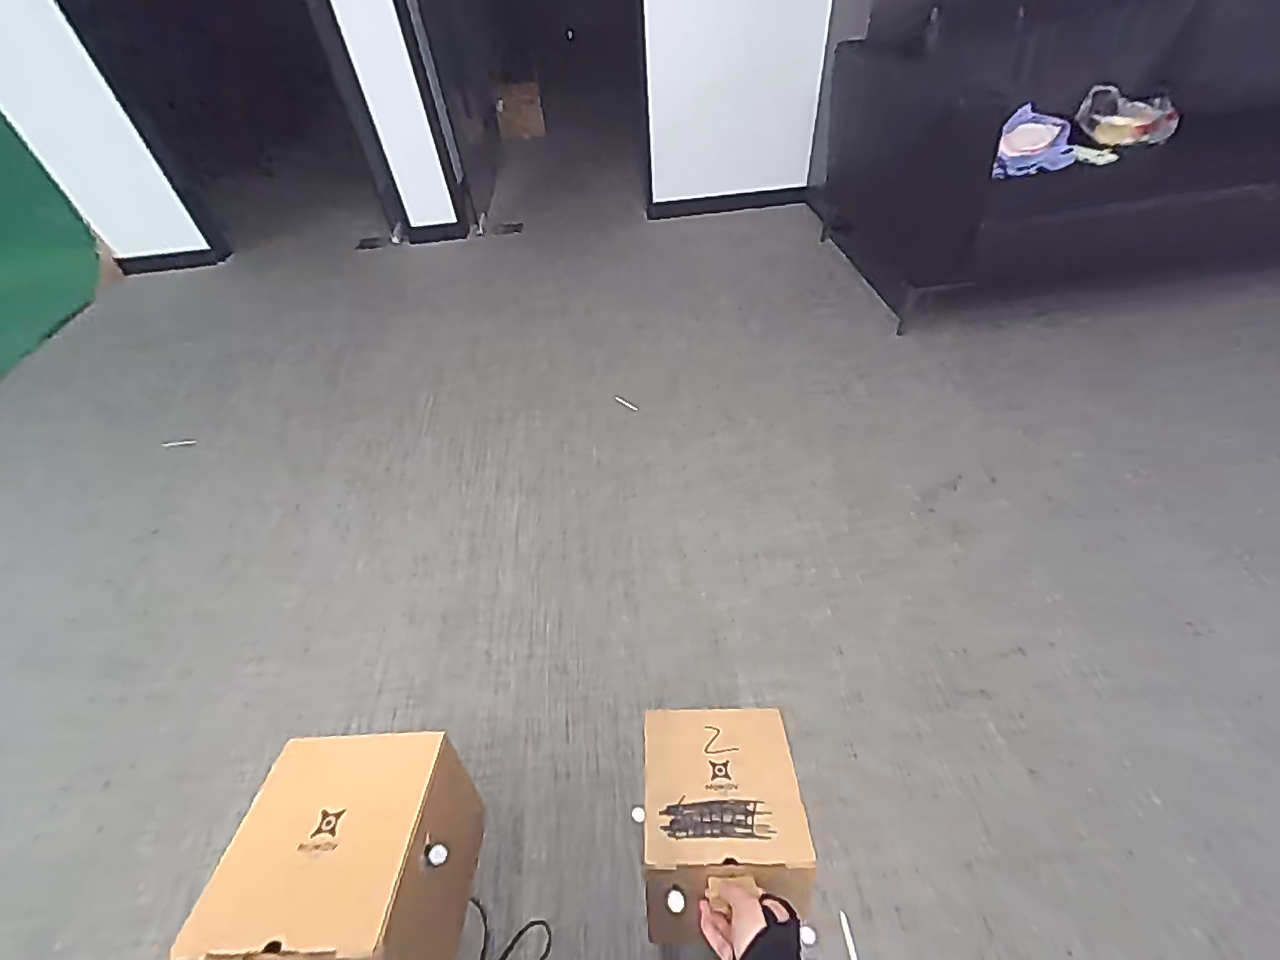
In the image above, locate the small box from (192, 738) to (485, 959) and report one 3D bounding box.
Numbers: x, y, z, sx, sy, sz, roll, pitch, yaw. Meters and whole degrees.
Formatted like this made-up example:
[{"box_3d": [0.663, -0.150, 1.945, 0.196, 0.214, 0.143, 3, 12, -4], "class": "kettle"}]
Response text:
[{"box_3d": [-0.265, 0.384, 0.533, 0.168, 0.176, 0.179, -5, 35, 4], "class": "small box"}]
